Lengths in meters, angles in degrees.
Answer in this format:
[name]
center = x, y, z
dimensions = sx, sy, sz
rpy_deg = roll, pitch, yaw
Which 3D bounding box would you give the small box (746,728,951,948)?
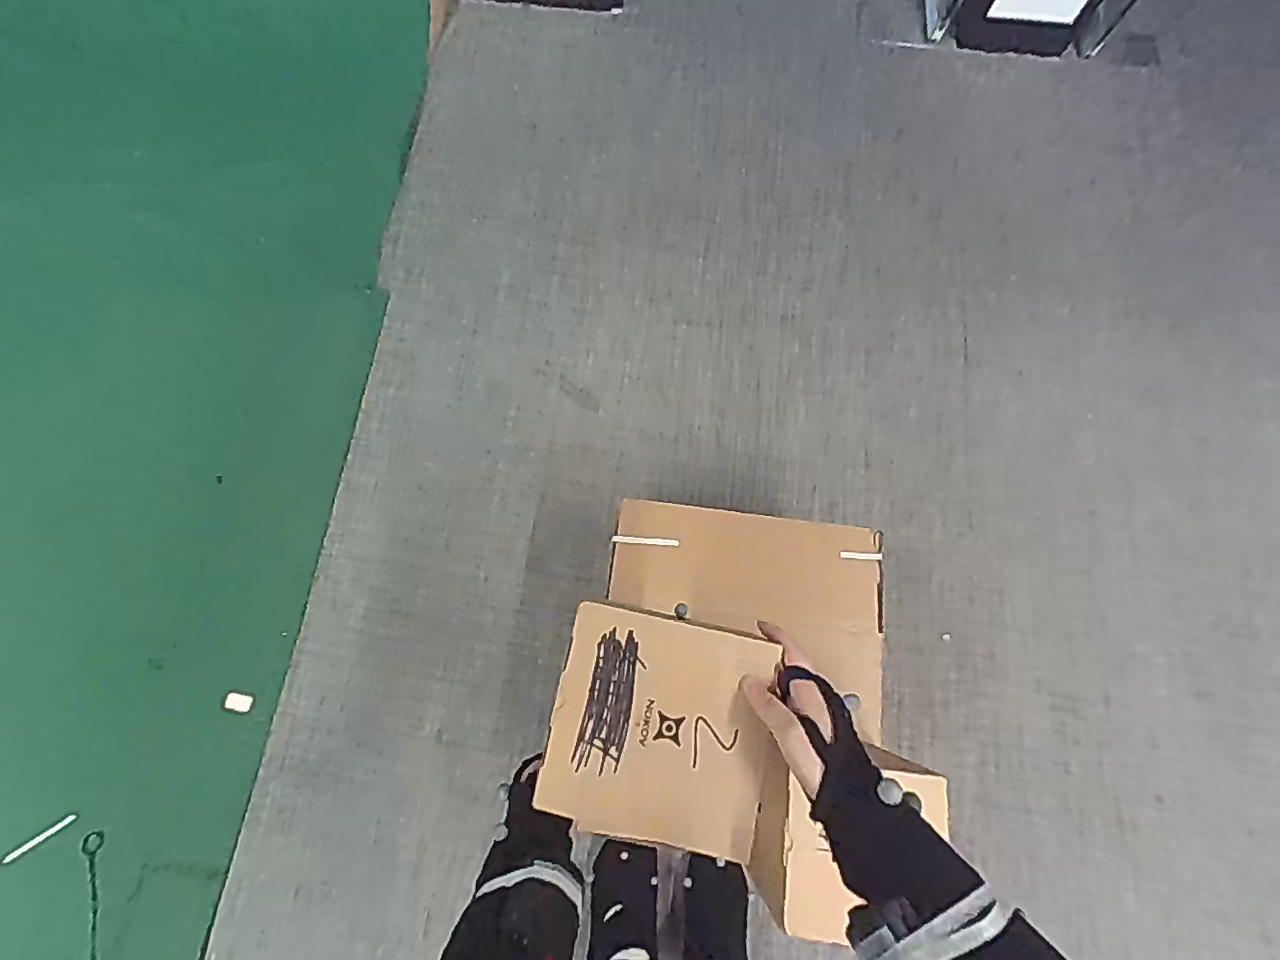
[small box]
center = 0.235, 0.404, 0.642
dimensions = 0.179, 0.176, 0.168
rpy_deg = 7, 74, 1
